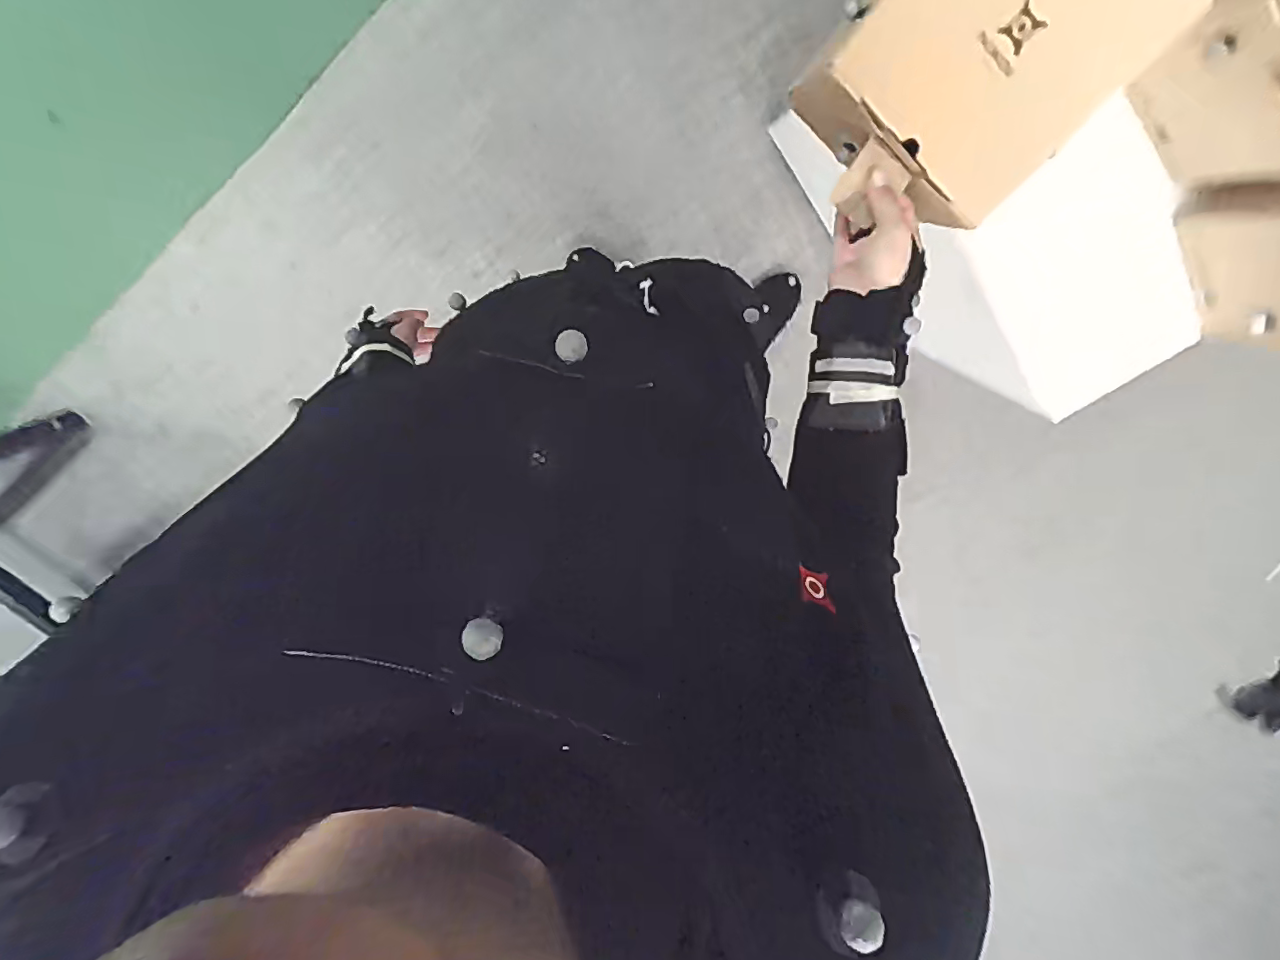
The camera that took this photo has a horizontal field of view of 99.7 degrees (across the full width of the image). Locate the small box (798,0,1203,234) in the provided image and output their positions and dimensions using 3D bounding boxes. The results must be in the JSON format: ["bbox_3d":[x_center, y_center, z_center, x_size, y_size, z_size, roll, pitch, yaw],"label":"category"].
[{"bbox_3d":[0.250,-0.332,0.428,0.168,0.176,0.179,35,118,-15],"label":"small box"}]
